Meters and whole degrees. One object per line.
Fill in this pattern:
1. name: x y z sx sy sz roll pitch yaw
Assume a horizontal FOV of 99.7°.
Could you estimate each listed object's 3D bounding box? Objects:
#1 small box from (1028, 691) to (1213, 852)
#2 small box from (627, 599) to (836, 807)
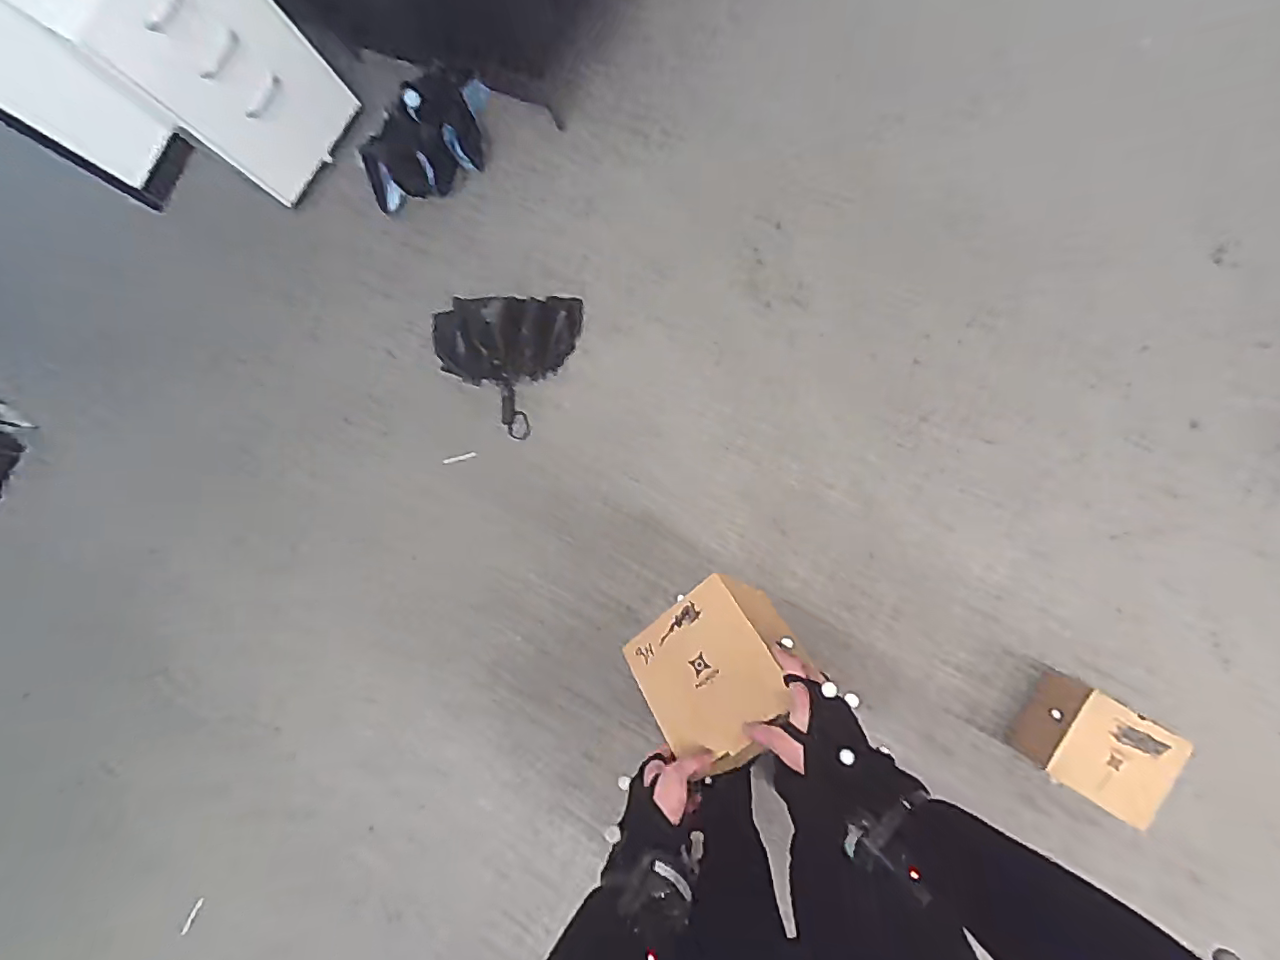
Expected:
1. small box: 0.863 0.517 0.994 0.168 0.176 0.179 29 90 18
2. small box: 0.122 0.279 0.699 0.168 0.176 0.179 -44 54 12
